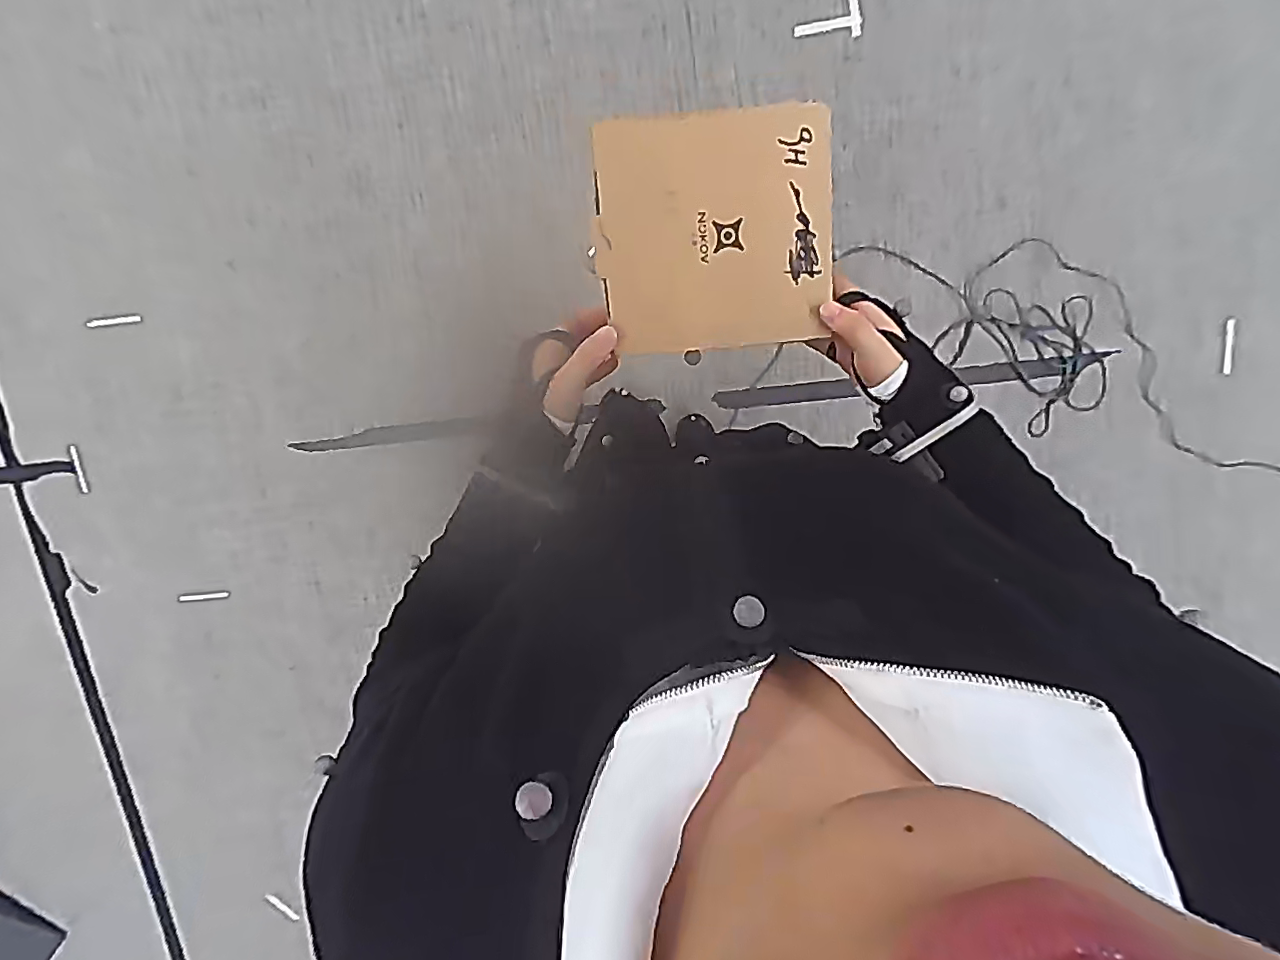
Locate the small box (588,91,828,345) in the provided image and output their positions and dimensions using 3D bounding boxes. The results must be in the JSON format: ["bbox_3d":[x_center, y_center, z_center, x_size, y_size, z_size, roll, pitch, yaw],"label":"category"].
[{"bbox_3d":[0.055,-0.212,0.485,0.179,0.176,0.168,-5,103,1],"label":"small box"}]
